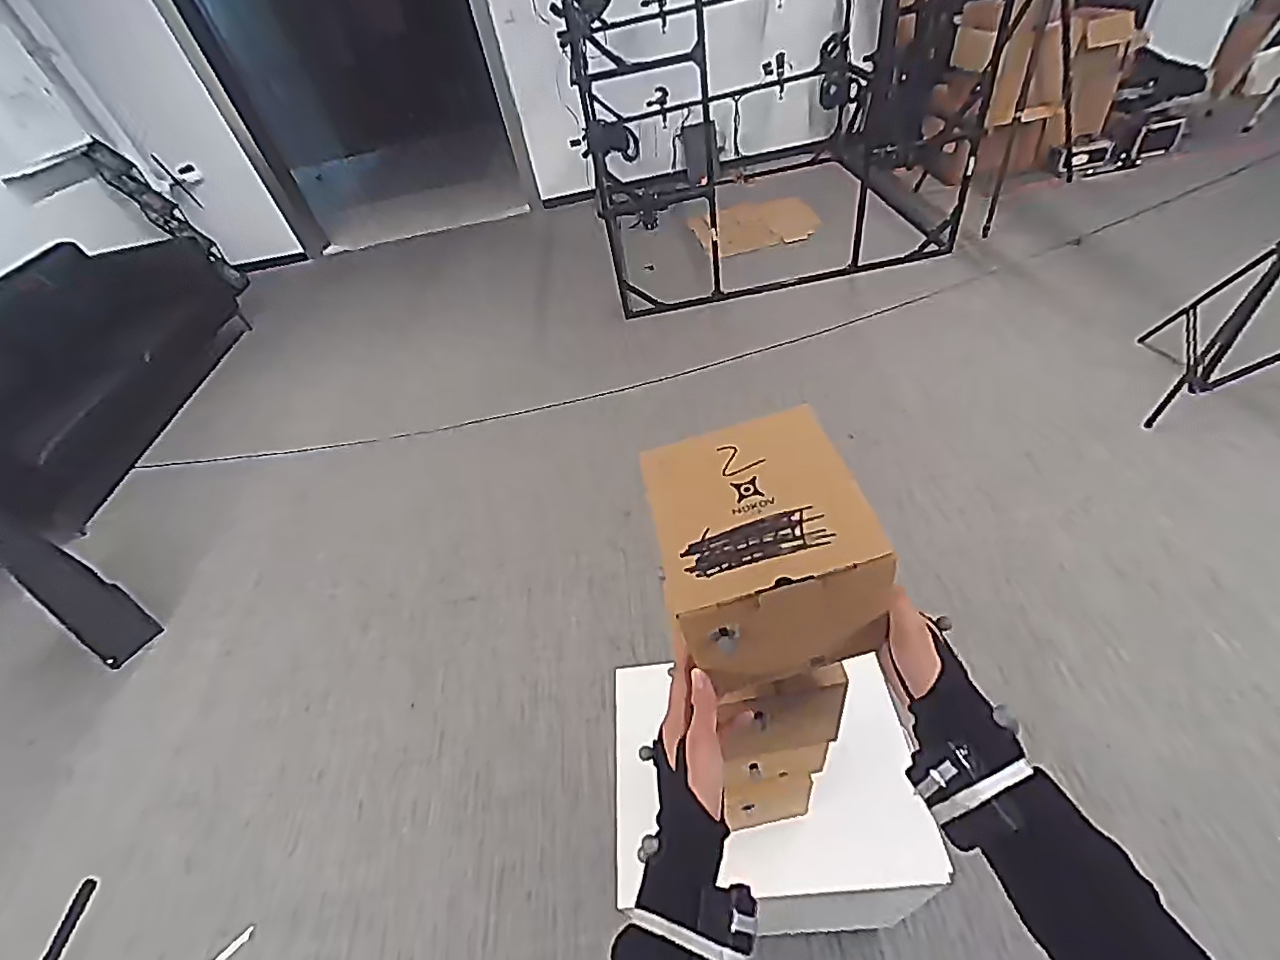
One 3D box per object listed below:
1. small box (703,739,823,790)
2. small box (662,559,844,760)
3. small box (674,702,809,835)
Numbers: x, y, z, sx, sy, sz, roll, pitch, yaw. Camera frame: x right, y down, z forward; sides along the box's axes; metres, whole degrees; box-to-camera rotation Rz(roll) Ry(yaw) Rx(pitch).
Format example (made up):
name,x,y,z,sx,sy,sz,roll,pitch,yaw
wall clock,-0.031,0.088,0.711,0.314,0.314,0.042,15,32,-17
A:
name,x,y,z,sx,sy,sz,roll,pitch,yaw
small box,0.162,0.332,0.794,0.168,0.176,0.179,-13,43,0
small box,0.133,0.226,0.670,0.179,0.176,0.168,-11,44,2
small box,0.165,0.462,0.896,0.179,0.176,0.168,-13,44,-1
